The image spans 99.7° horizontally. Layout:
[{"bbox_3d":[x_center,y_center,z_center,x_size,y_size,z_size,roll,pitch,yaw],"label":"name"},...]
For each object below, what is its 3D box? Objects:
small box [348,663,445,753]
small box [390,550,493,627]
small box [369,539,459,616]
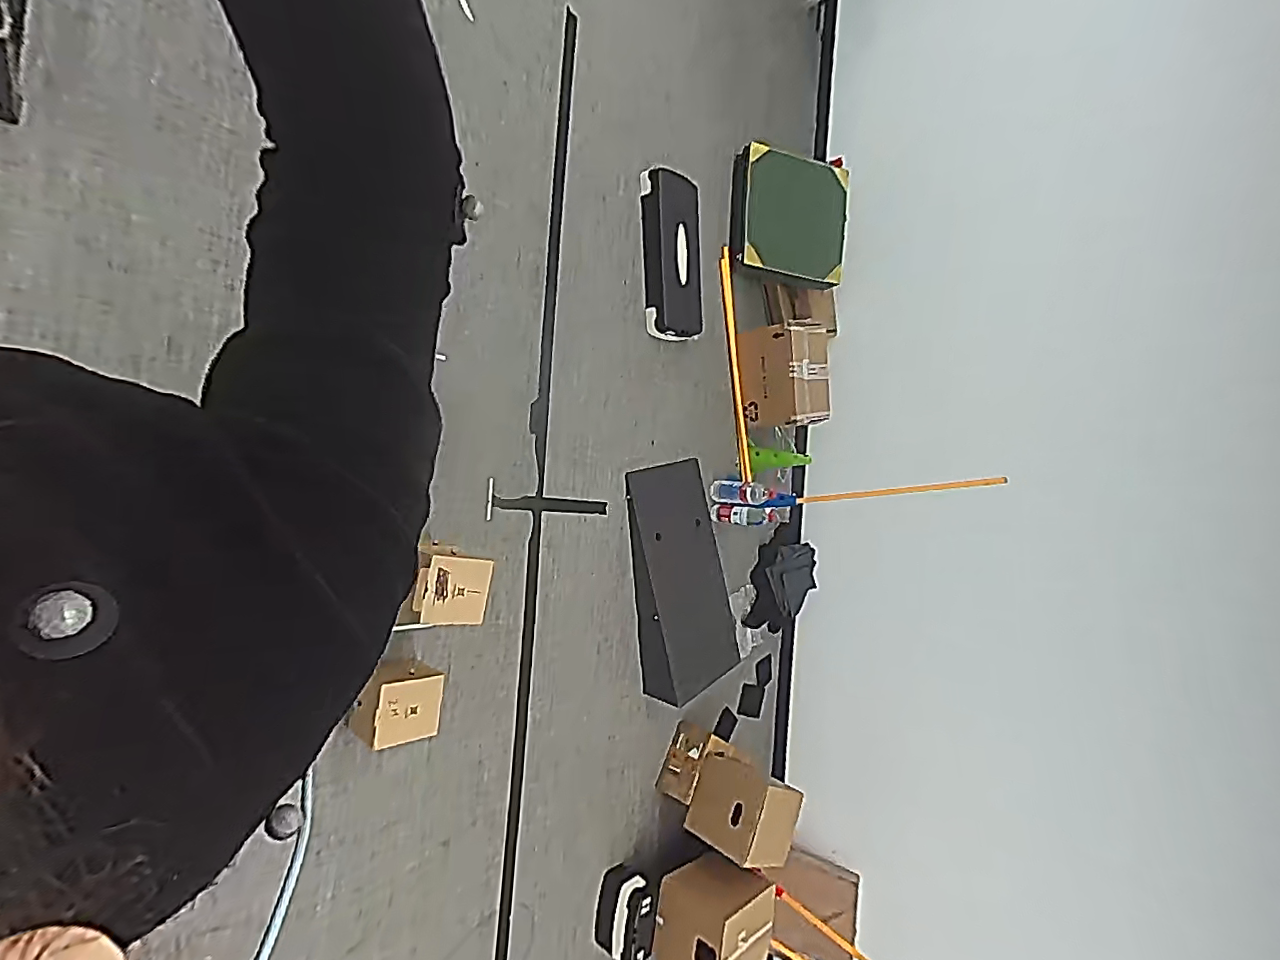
[{"bbox_3d":[-0.661,0.609,1.469,0.179,0.176,0.168,10,85,-48],"label":"small box"},{"bbox_3d":[-0.506,0.274,1.374,0.179,0.176,0.168,17,80,-48],"label":"small box"},{"bbox_3d":[-0.625,0.263,1.489,0.168,0.176,0.179,10,86,-48],"label":"small box"}]
